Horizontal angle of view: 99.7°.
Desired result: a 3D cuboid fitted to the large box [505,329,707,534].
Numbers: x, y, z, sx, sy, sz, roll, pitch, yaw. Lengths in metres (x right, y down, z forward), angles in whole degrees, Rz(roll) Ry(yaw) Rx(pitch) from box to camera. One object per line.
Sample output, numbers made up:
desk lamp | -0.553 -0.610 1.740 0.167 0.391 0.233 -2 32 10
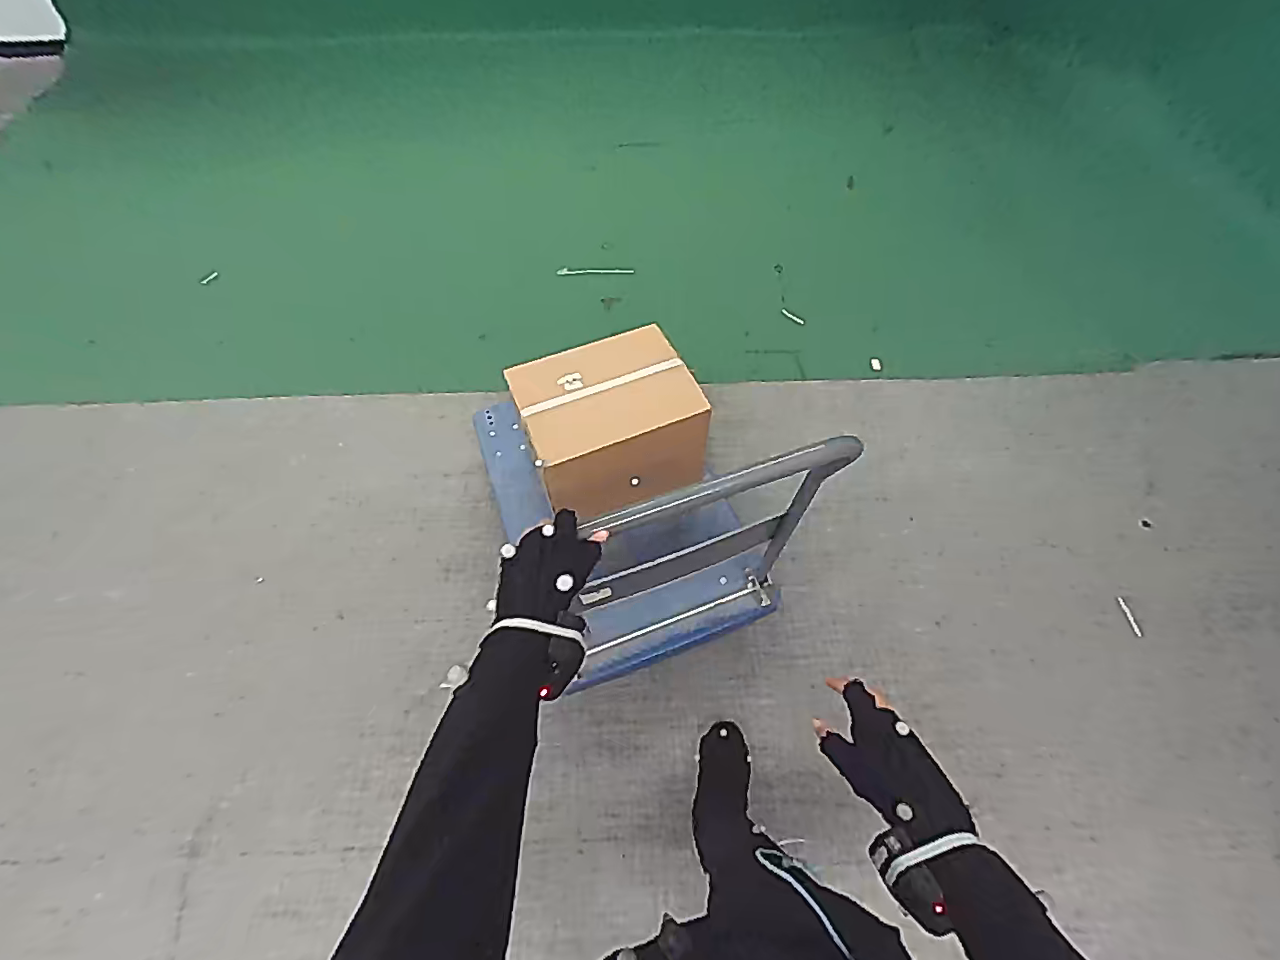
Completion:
large box | -0.079 -0.120 1.390 0.408 0.320 0.320 -21 58 -11
